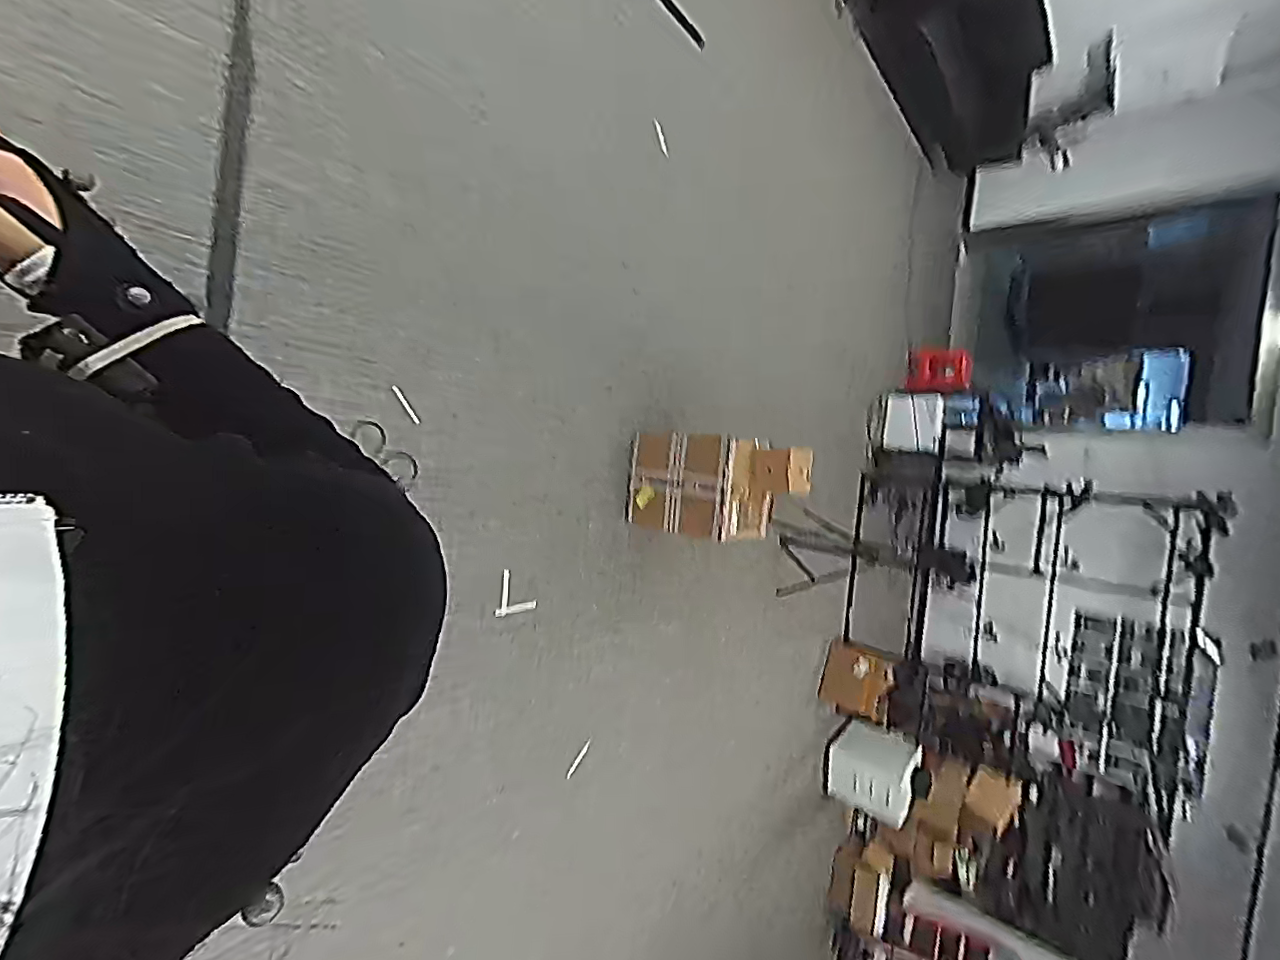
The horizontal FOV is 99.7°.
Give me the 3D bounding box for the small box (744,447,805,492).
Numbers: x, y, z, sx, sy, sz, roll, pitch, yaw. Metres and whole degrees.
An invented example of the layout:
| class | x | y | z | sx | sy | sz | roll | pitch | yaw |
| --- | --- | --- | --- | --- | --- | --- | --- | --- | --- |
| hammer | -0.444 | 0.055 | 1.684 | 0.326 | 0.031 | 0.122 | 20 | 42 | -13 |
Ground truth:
| class | x | y | z | sx | sy | sz | roll | pitch | yaw |
| --- | --- | --- | --- | --- | --- | --- | --- | --- | --- |
| small box | 0.519 | -0.040 | 2.098 | 0.179 | 0.176 | 0.168 | 2 | 93 | -46 |
